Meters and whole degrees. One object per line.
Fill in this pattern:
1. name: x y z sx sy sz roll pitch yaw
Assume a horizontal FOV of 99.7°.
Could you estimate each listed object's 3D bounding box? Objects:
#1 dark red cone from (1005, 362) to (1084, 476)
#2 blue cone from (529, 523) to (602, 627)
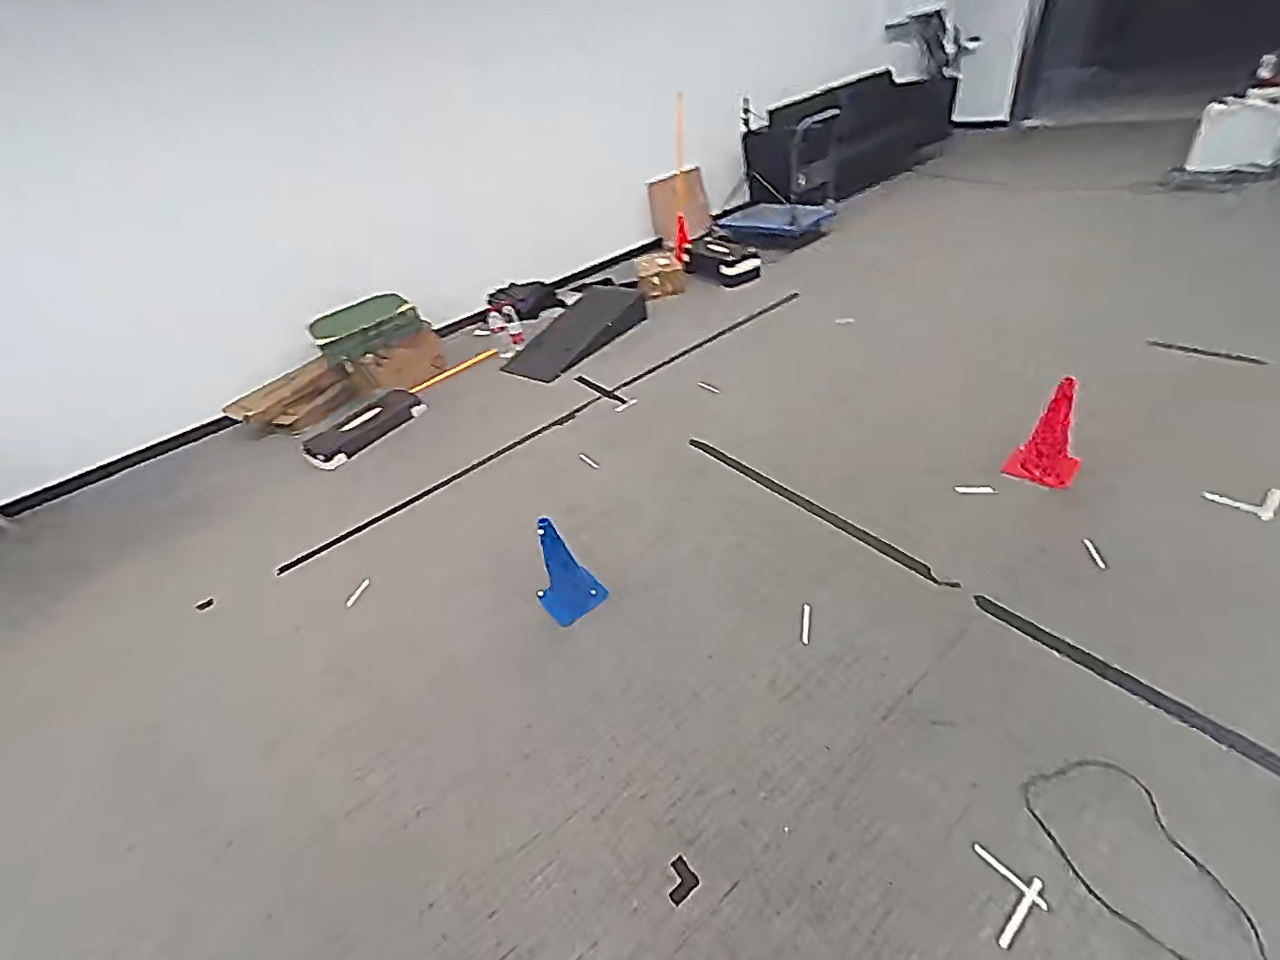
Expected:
1. dark red cone: 1.412 -0.219 1.827 0.202 0.394 0.201 25 53 40
2. blue cone: -0.276 0.279 1.761 0.192 0.380 0.193 -32 41 -21
